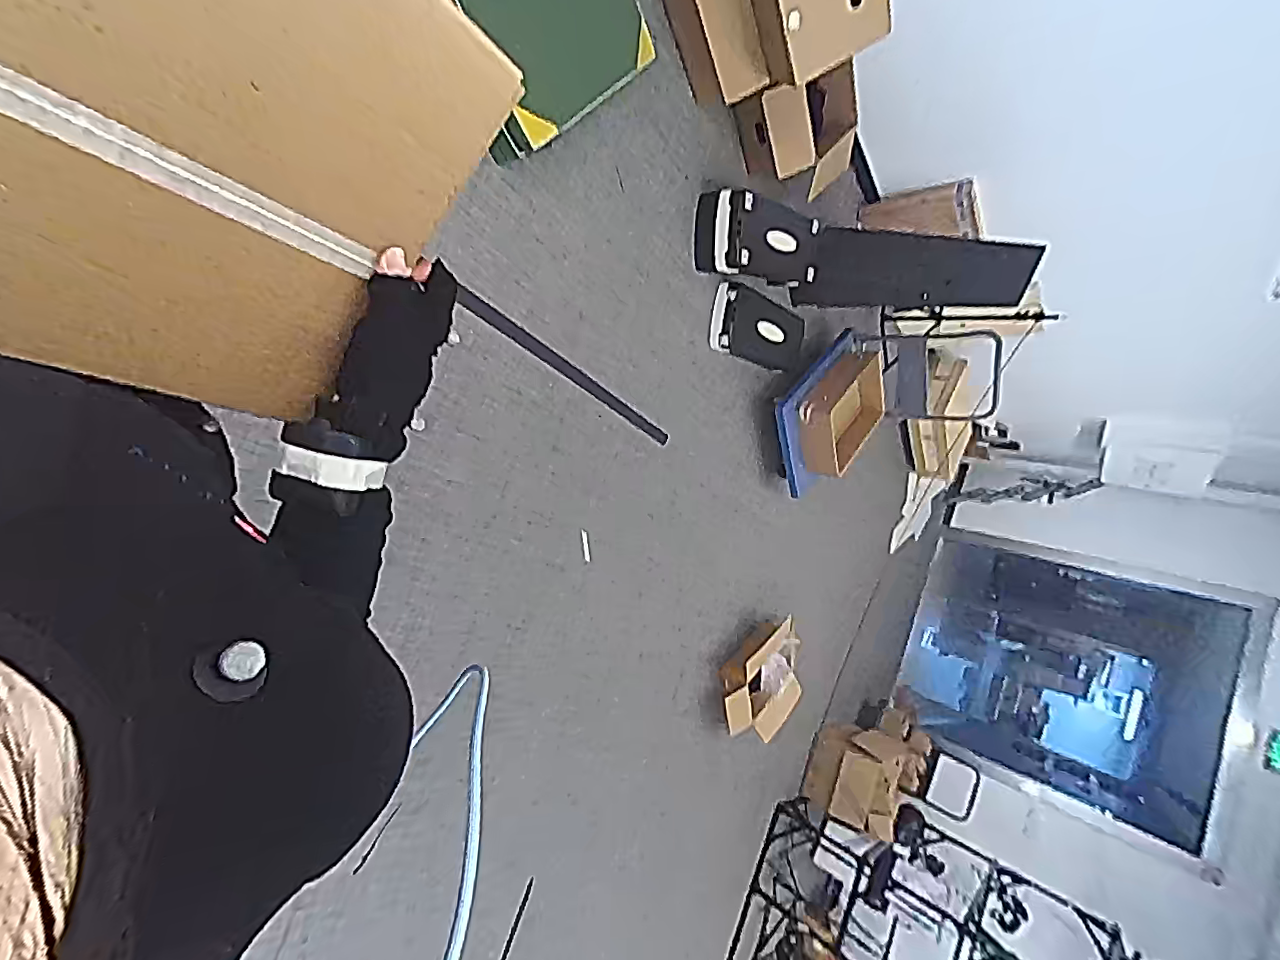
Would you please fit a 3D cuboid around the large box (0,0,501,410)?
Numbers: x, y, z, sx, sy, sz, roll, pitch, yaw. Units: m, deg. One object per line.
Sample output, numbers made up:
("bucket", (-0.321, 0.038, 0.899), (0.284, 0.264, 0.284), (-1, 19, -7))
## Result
("large box", (-0.370, -0.298, 0.332), (0.320, 0.320, 0.408), (-46, 146, 22))
